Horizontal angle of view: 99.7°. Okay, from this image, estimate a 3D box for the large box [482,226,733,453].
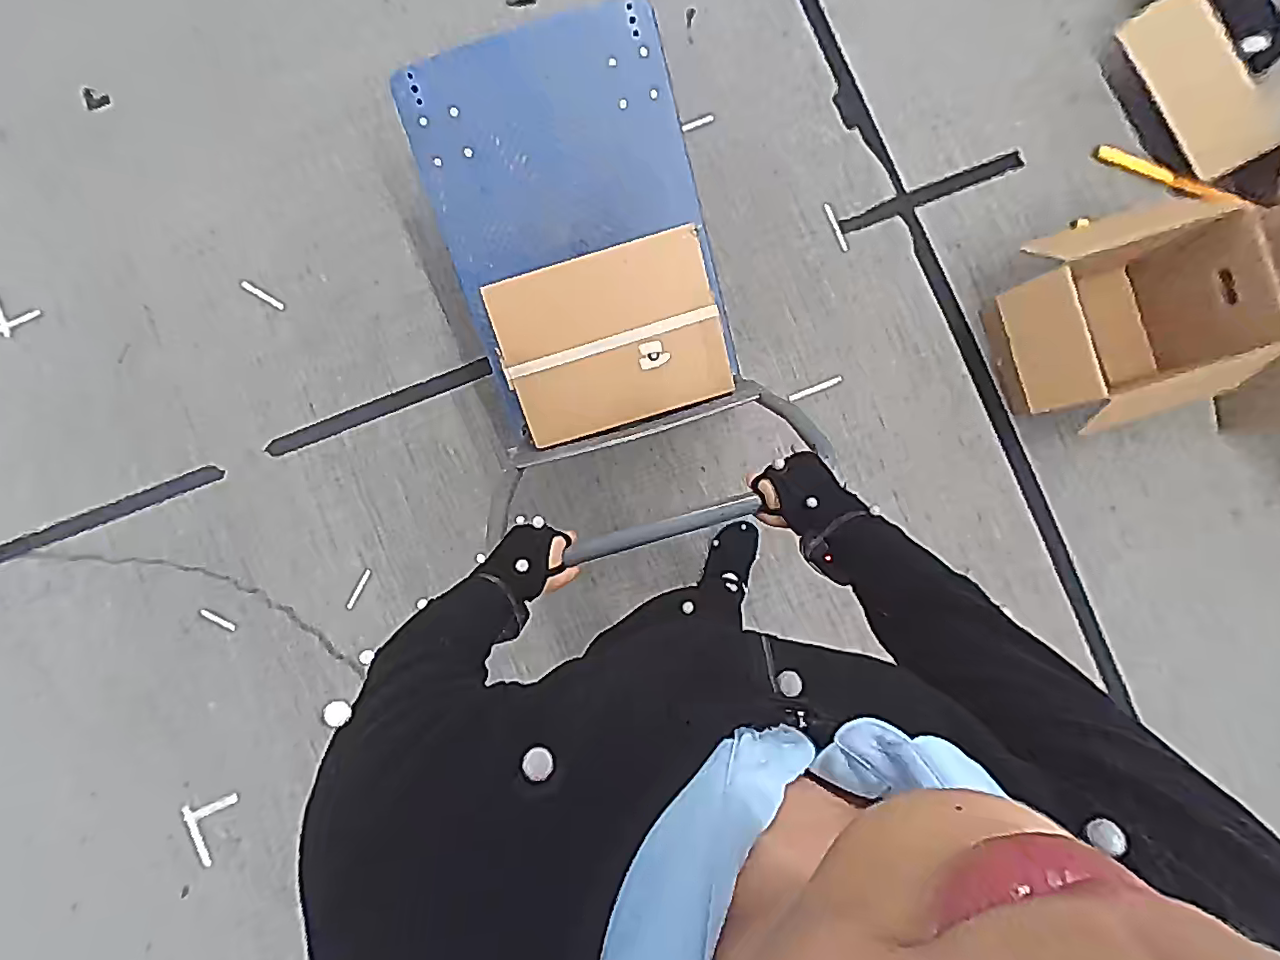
[{"bbox_3d":[-0.064,-0.288,1.147,0.408,0.320,0.320,-18,106,0],"label":"large box"}]
